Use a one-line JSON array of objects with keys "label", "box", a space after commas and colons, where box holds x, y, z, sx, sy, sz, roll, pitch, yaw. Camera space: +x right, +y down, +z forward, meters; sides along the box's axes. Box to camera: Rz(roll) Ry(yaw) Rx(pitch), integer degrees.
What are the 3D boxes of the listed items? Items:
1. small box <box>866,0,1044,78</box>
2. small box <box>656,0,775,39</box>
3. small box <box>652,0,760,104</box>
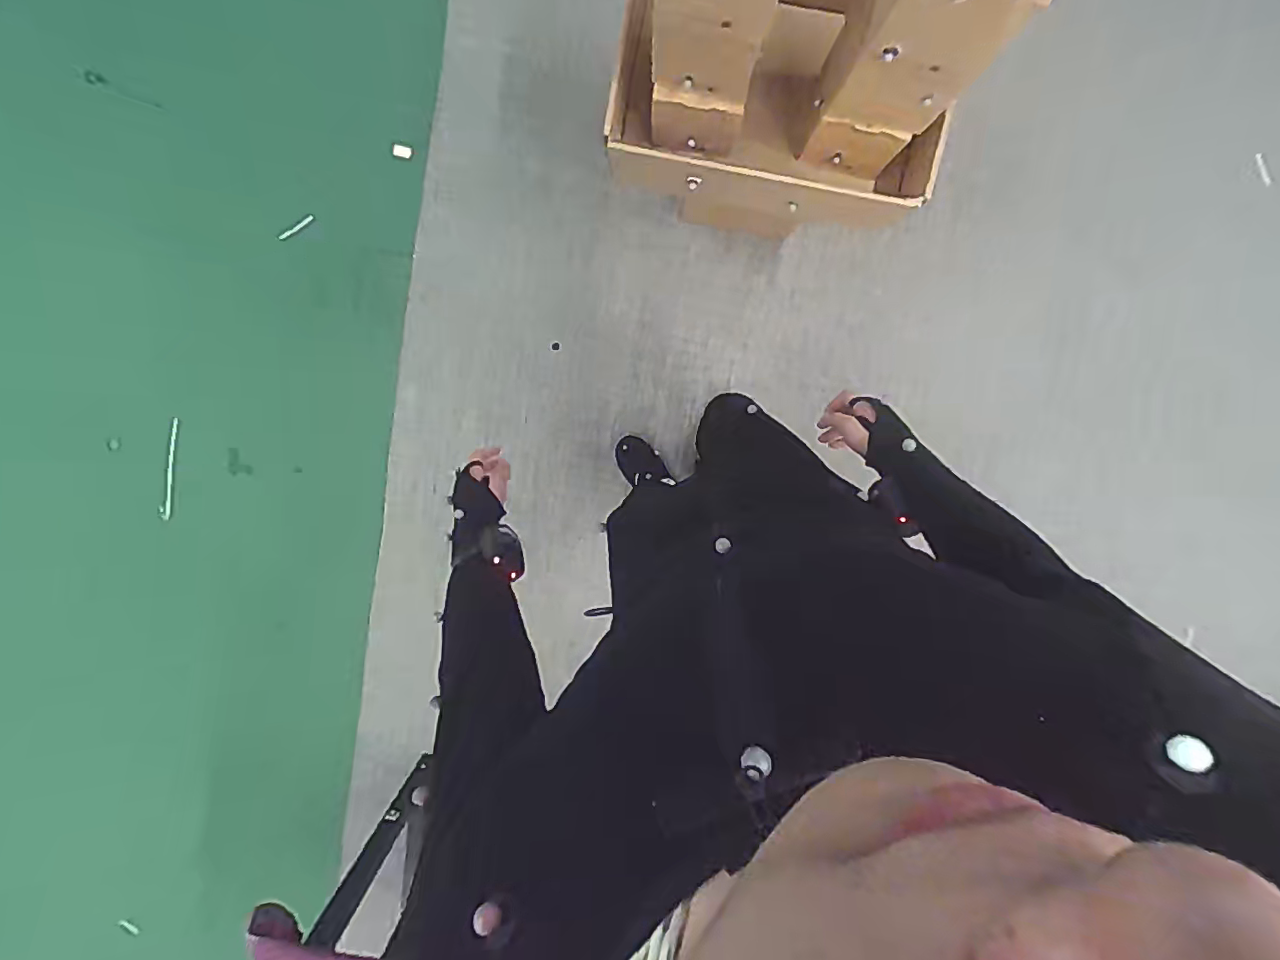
[{"label": "small box", "box": [0.417, -0.670, 0.697, 0.168, 0.176, 0.179, 13, 97, -2]}, {"label": "small box", "box": [0.113, -0.729, 0.695, 0.168, 0.176, 0.179, 10, 95, 0]}, {"label": "small box", "box": [0.116, -0.750, 0.857, 0.168, 0.176, 0.179, 14, 97, 0]}]
